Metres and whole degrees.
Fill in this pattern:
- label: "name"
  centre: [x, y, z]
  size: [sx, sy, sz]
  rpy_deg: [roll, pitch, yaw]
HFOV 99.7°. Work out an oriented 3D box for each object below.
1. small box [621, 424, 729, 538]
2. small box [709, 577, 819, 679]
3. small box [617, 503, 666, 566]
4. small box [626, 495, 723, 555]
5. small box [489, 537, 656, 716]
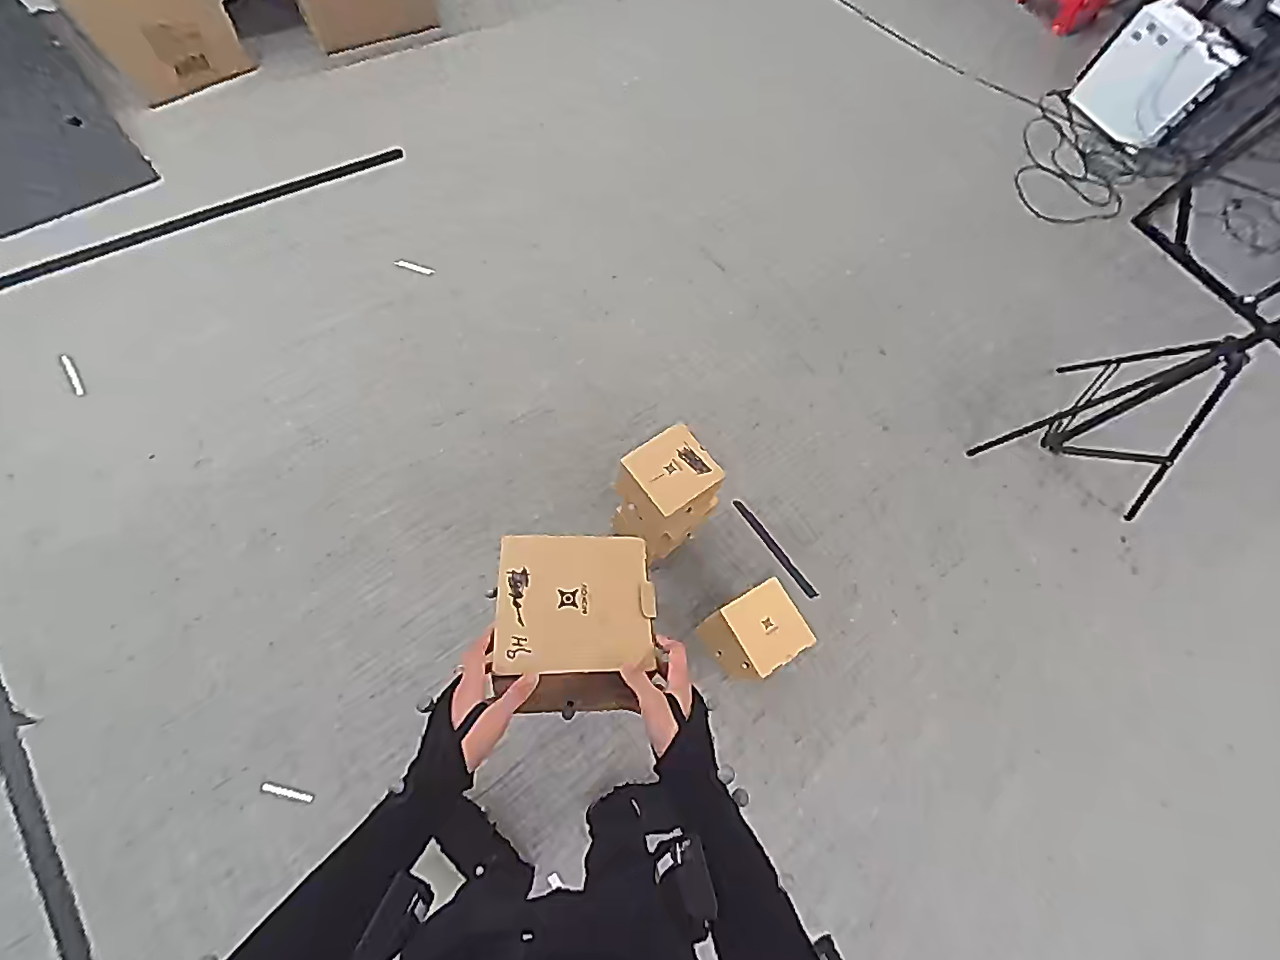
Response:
- label: "small box"
  centre: [0.071, 0.007, 1.244]
  size: [0.179, 0.176, 0.168]
  rpy_deg: [-33, 74, -18]
- label: "small box"
  centre: [0.290, 0.364, 1.308]
  size: [0.168, 0.176, 0.179]
  rpy_deg: [-27, 74, -17]
- label: "small box"
  centre: [0.050, 0.122, 1.551]
  size: [0.179, 0.176, 0.168]
  rpy_deg: [-36, 76, -19]
- label: "small box"
  centre: [0.080, 0.069, 1.399]
  size: [0.168, 0.176, 0.179]
  rpy_deg: [-37, 77, -19]
- label: "small box"
  centre: [-0.087, 0.186, 0.668]
  size: [0.179, 0.176, 0.168]
  rpy_deg: [3, 53, -11]
